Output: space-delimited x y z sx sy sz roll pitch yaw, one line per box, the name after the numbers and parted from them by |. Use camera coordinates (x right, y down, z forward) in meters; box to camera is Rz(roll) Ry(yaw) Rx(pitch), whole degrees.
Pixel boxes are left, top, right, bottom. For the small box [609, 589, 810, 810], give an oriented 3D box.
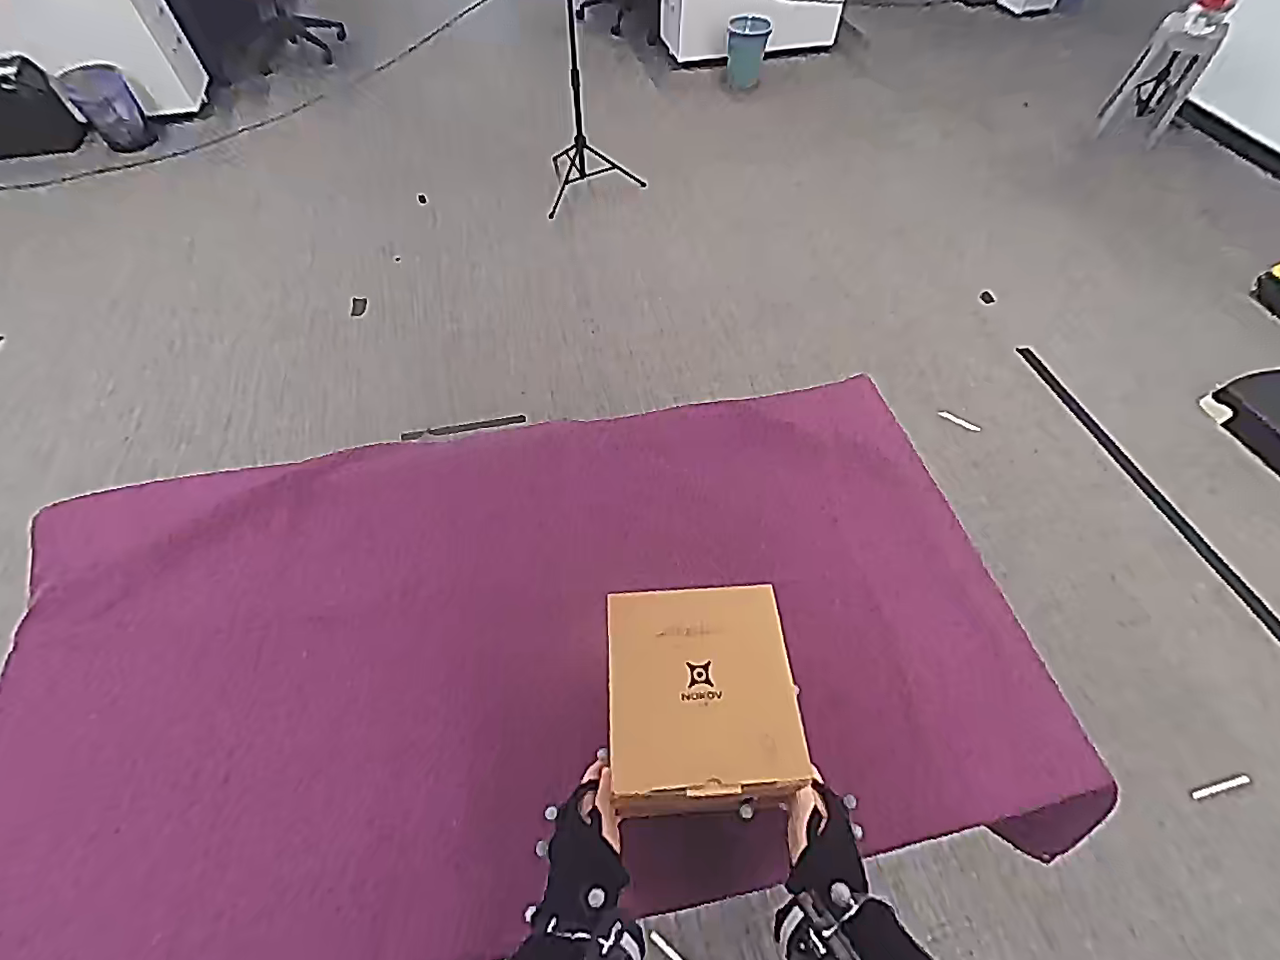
0.056 0.227 0.547 0.168 0.176 0.179 -2 54 -2 | small box
